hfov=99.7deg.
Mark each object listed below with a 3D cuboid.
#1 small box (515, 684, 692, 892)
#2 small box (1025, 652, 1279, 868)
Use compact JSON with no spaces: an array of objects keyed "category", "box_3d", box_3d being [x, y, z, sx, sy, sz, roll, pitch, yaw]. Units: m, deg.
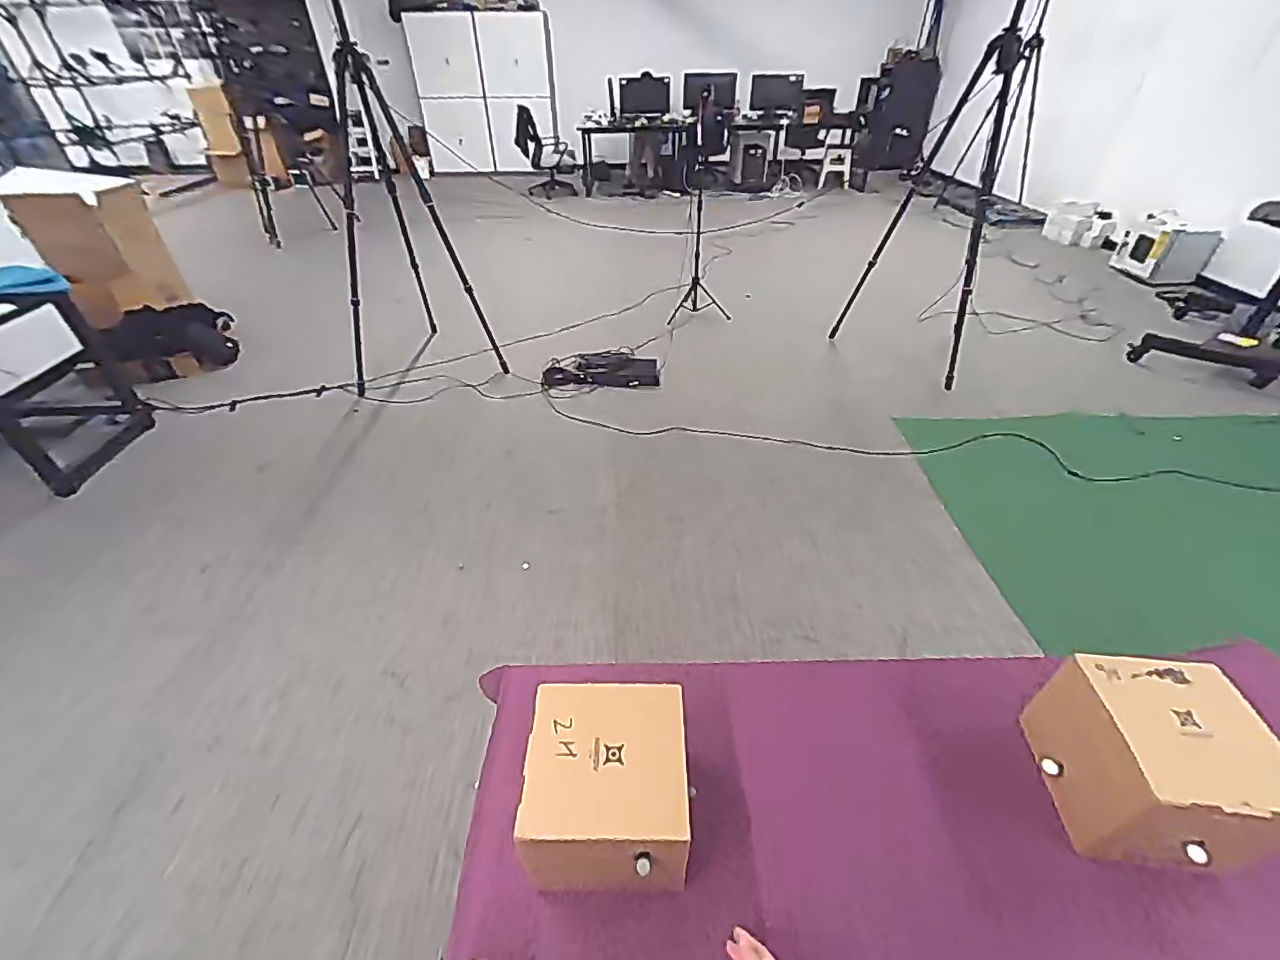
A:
[{"category":"small box","box_3d":[-0.033,0.362,0.638,0.179,0.176,0.168,0,38,2]},{"category":"small box","box_3d":[0.610,0.334,0.646,0.168,0.176,0.179,4,40,6]}]
